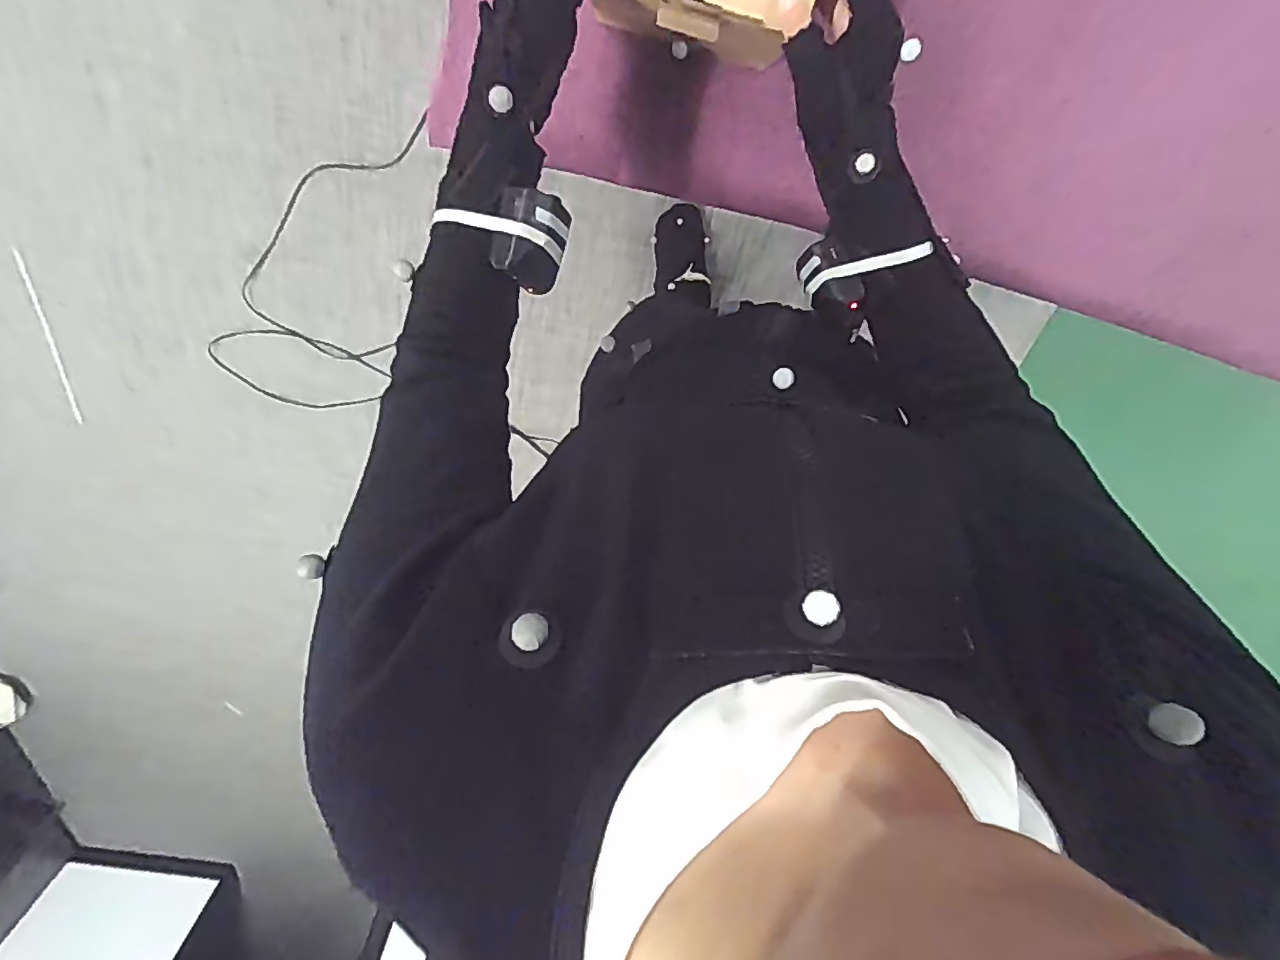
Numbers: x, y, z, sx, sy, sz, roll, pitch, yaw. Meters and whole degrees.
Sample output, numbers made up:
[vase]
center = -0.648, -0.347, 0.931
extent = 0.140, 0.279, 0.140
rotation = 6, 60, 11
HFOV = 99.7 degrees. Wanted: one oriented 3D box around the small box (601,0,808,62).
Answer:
[small box]
center = 0.055, -0.448, 0.403
extent = 0.168, 0.176, 0.179
rotation = 12, 121, -5
